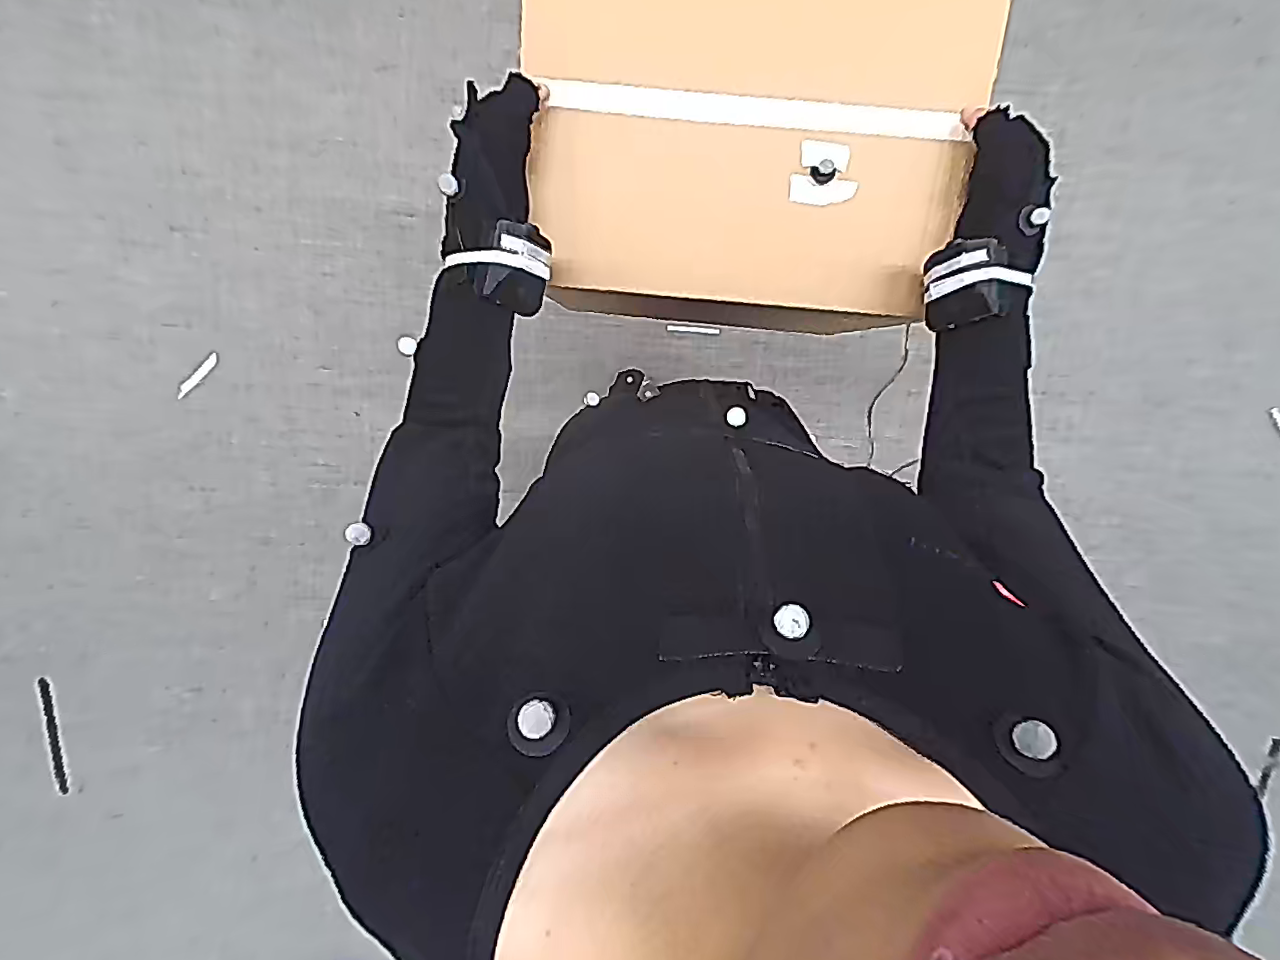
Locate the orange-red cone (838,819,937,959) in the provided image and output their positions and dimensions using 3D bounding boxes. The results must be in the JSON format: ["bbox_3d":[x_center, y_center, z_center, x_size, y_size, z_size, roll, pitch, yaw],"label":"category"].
[{"bbox_3d":[0.721,1.174,1.519,0.198,0.360,0.199,1,99,-1],"label":"orange-red cone"}]

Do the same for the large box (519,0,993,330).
[{"bbox_3d":[0.093,-0.353,0.620,0.408,0.320,0.320,5,103,-1],"label":"large box"}]
